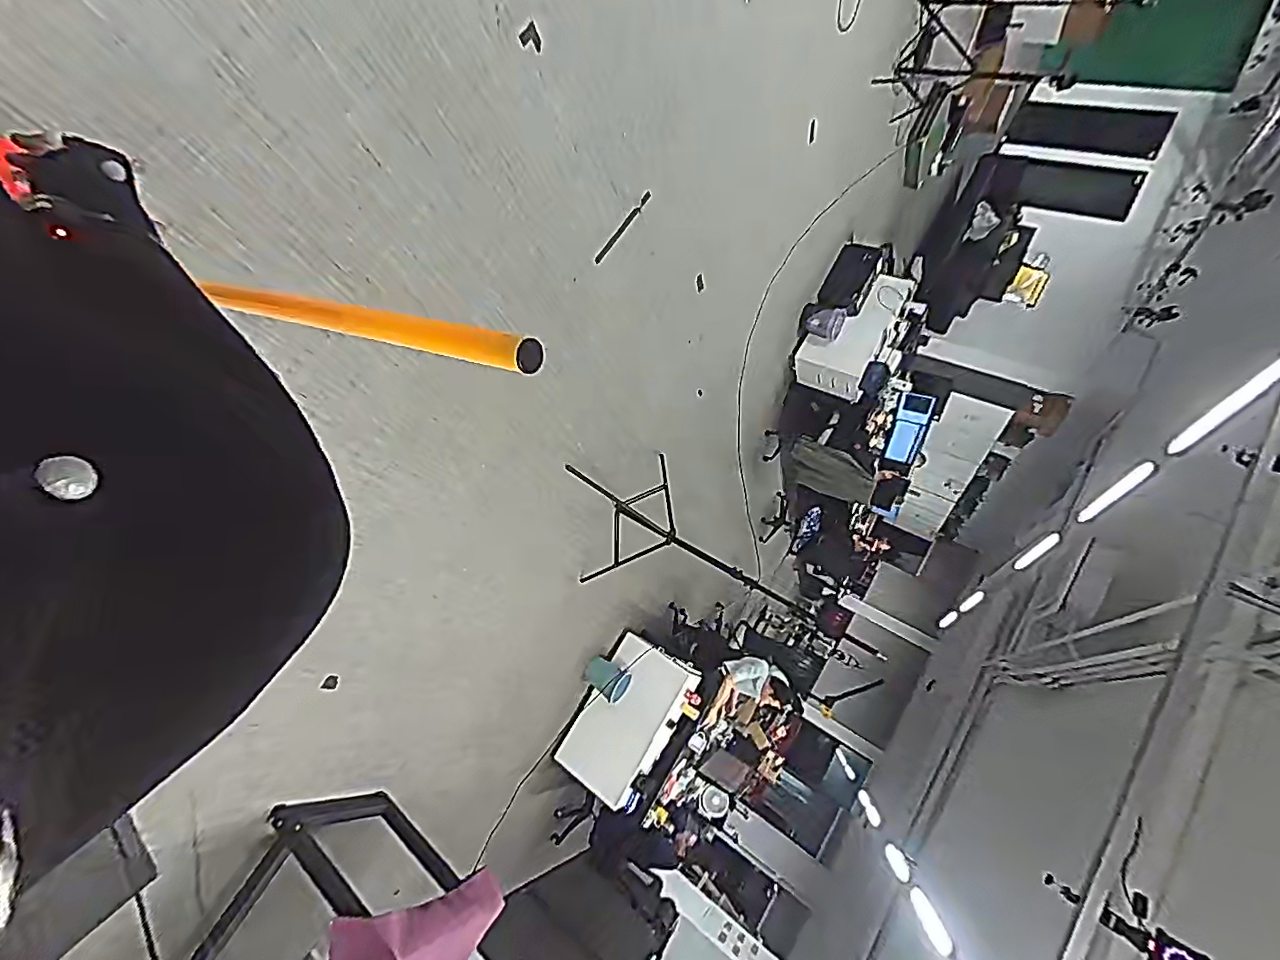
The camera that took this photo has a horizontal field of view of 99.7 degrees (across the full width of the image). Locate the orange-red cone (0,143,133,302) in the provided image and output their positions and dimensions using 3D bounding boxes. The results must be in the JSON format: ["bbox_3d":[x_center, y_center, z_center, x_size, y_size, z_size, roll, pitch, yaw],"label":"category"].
[{"bbox_3d":[-0.905,-0.366,0.854,0.199,0.360,0.198,-55,152,-14],"label":"orange-red cone"}]
